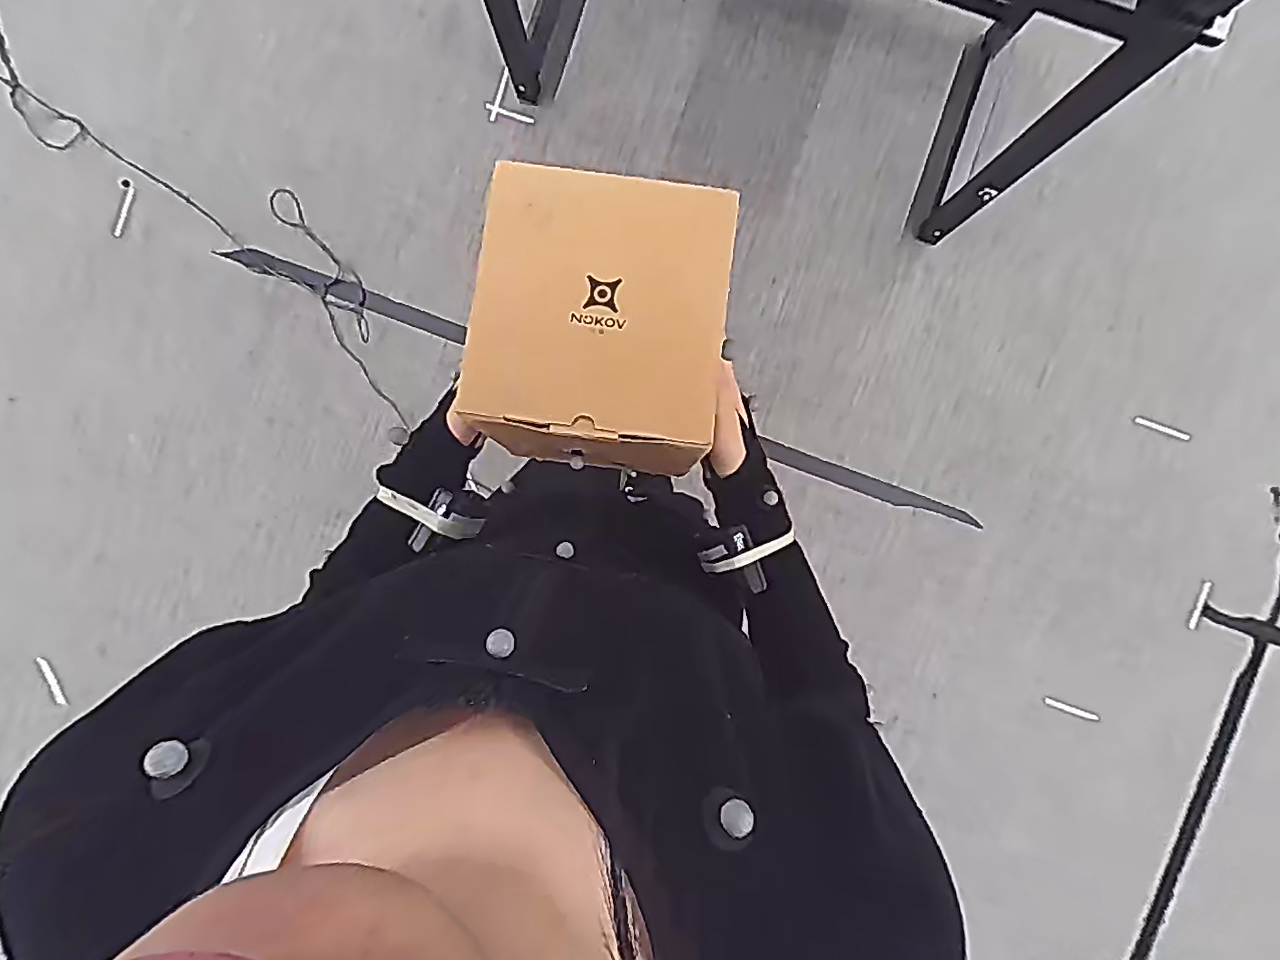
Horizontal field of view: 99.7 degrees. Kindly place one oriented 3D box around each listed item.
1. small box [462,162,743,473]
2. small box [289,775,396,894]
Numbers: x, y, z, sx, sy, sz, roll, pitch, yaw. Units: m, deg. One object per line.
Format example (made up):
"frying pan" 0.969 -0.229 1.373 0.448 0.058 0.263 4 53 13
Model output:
"small box" -0.025 -0.108 0.431 0.168 0.176 0.179 7 85 -1
"small box" -0.774 0.925 1.427 0.168 0.176 0.179 19 91 -1
